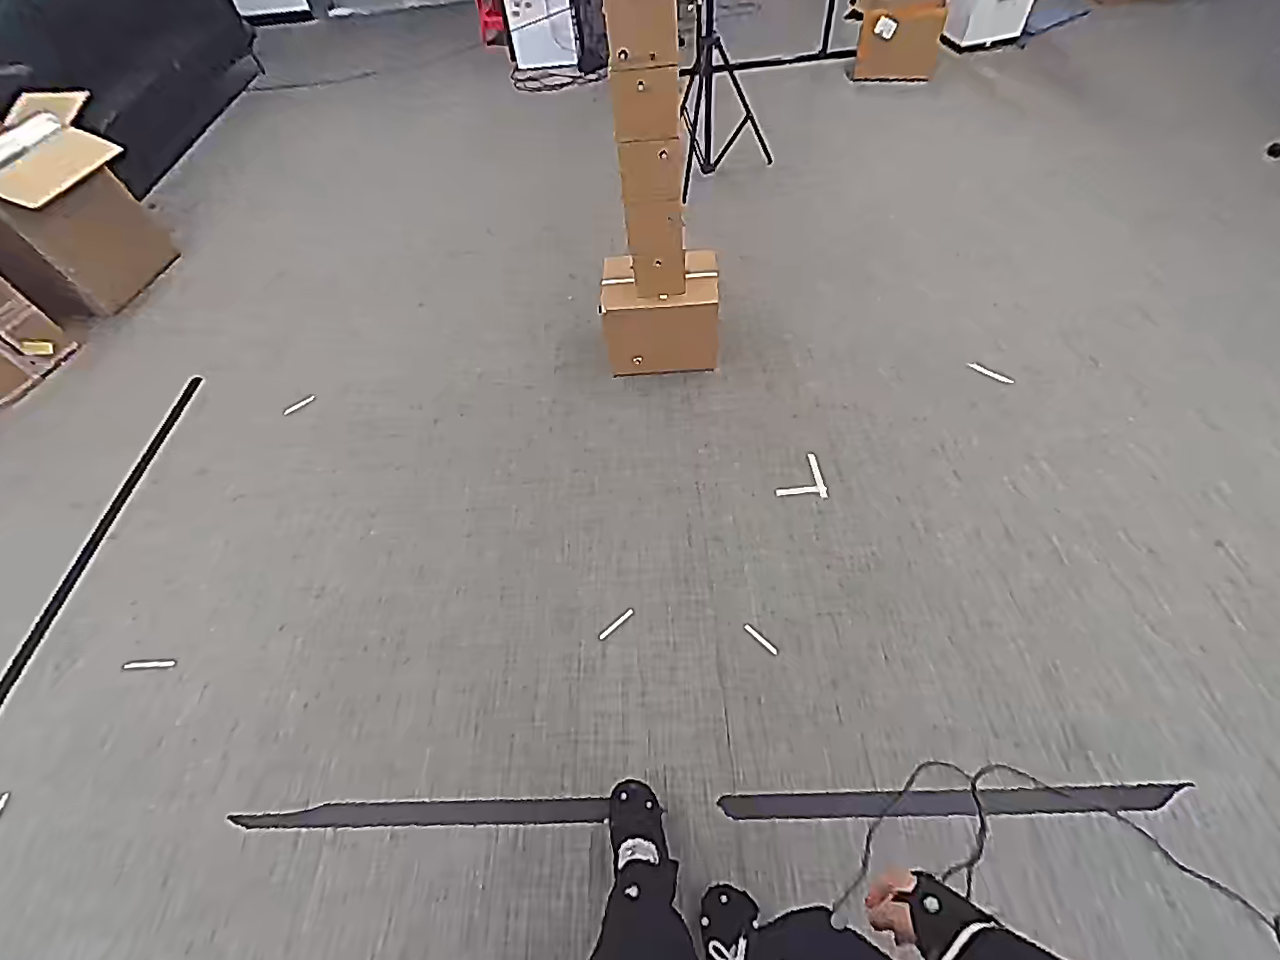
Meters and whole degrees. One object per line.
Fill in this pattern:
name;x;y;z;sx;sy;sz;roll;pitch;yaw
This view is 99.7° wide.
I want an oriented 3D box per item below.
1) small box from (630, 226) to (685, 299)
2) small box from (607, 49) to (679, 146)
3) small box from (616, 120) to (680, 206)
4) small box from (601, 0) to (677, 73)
small box;0.061;-0.734;1.839;0.179;0.176;0.168;-4;56;2
small box;0.015;-1.016;1.440;0.179;0.176;0.168;-1;56;6
small box;0.029;-0.923;1.572;0.179;0.176;0.168;-2;55;5
small box;0.003;-1.111;1.306;0.168;0.176;0.179;-1;55;5
